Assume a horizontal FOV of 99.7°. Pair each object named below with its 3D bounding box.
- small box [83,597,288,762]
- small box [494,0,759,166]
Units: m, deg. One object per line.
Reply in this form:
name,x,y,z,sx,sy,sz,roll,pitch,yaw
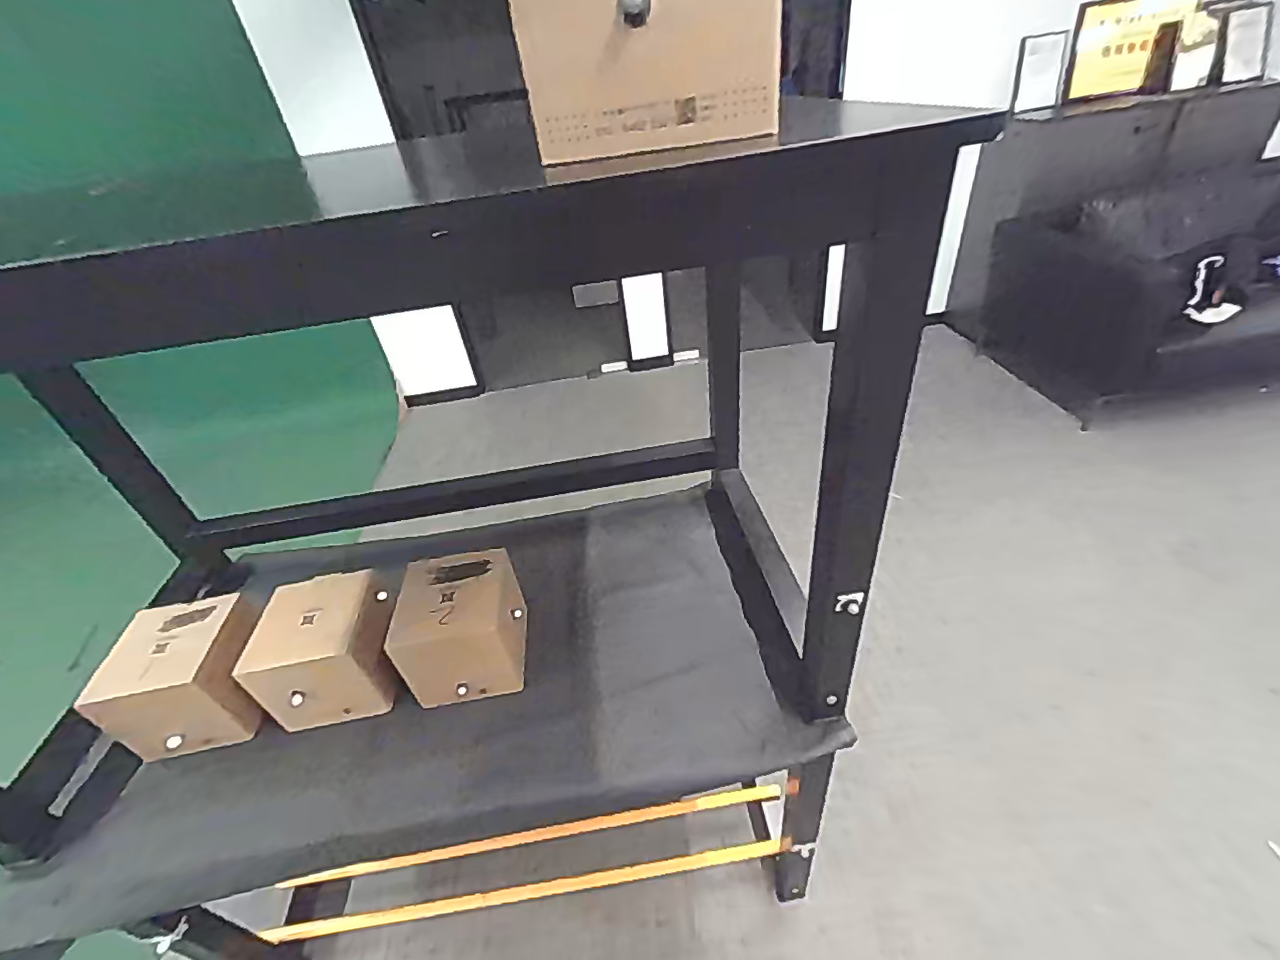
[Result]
small box,-0.718,0.325,0.886,0.168,0.176,0.179,-11,37,-3
small box,-0.004,-0.341,0.397,0.168,0.176,0.179,-4,36,7
